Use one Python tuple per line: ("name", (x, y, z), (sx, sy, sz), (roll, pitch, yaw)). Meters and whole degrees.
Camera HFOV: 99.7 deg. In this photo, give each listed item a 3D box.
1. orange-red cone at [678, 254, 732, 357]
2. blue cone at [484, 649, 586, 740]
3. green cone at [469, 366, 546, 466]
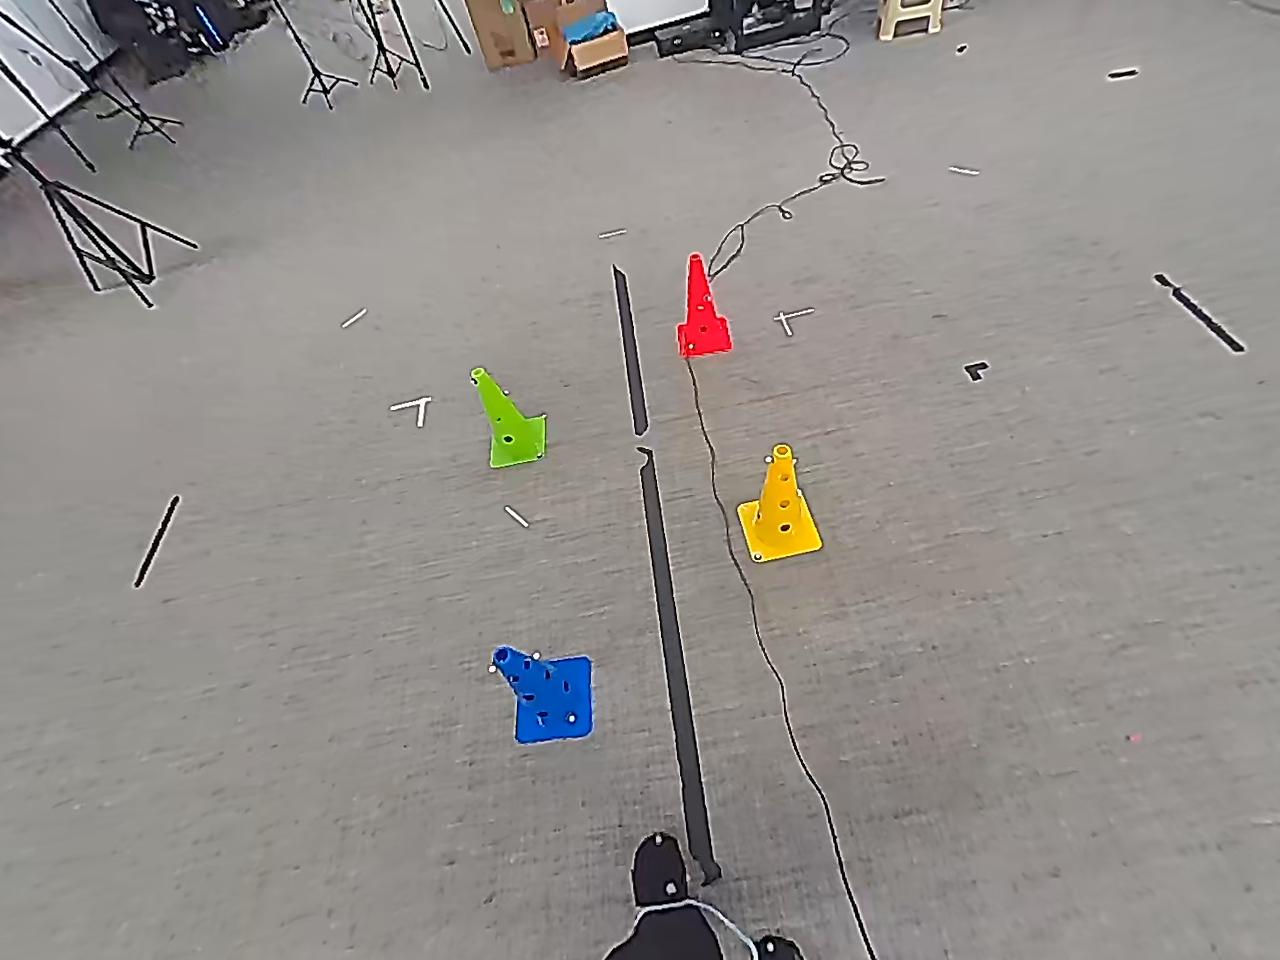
("orange-red cone", (0.221, -0.651, 1.953), (0.199, 0.360, 0.198), (-7, 55, 7))
("blue cone", (-0.263, 0.473, 1.274), (0.192, 0.380, 0.193), (-8, 53, 8))
("green cone", (-0.469, -0.243, 1.813), (0.202, 0.368, 0.200), (-12, 53, 6))
